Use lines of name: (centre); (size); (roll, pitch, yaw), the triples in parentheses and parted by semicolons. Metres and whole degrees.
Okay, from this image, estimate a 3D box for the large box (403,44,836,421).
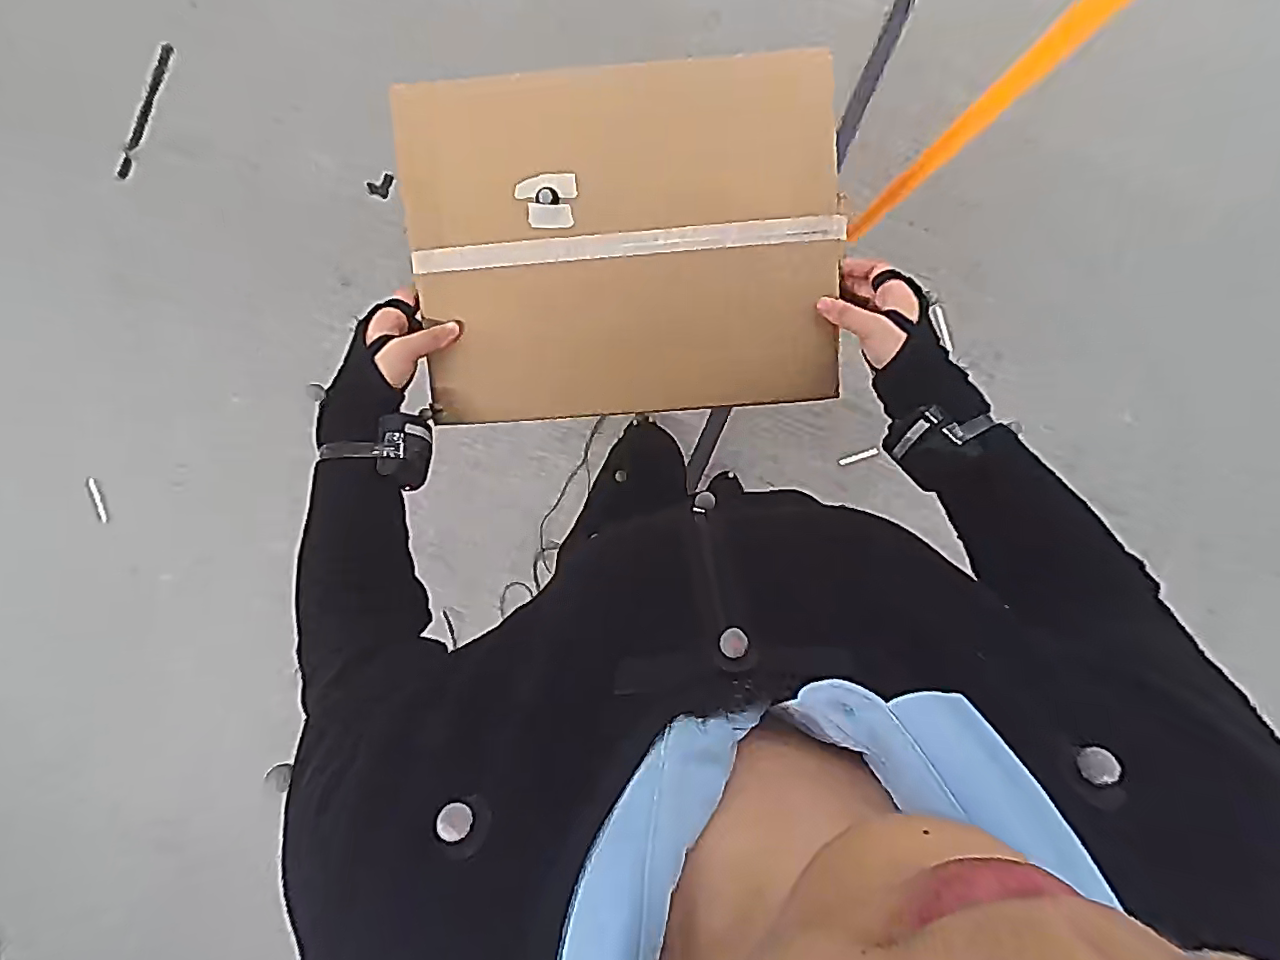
large box: (-0.008, -0.252, 0.672); (0.408, 0.320, 0.320); (-5, 98, 3)
